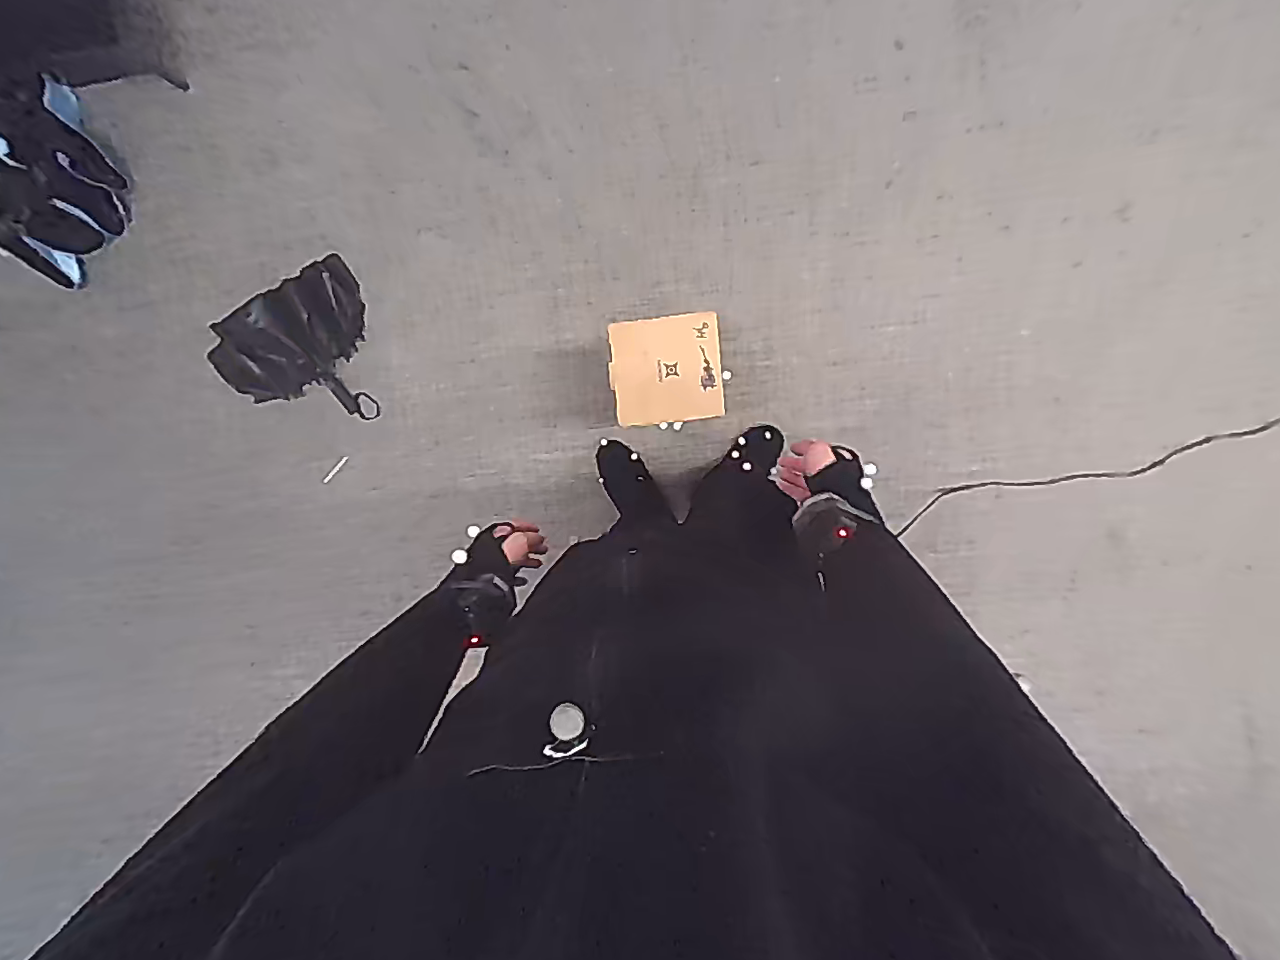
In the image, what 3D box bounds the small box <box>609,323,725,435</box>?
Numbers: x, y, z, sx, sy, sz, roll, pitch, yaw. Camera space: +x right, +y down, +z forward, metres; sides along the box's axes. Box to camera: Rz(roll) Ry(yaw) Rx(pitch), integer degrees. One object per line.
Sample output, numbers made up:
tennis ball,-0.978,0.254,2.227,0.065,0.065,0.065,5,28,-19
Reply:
small box,0.052,-0.166,0.939,0.179,0.176,0.168,-5,96,7
